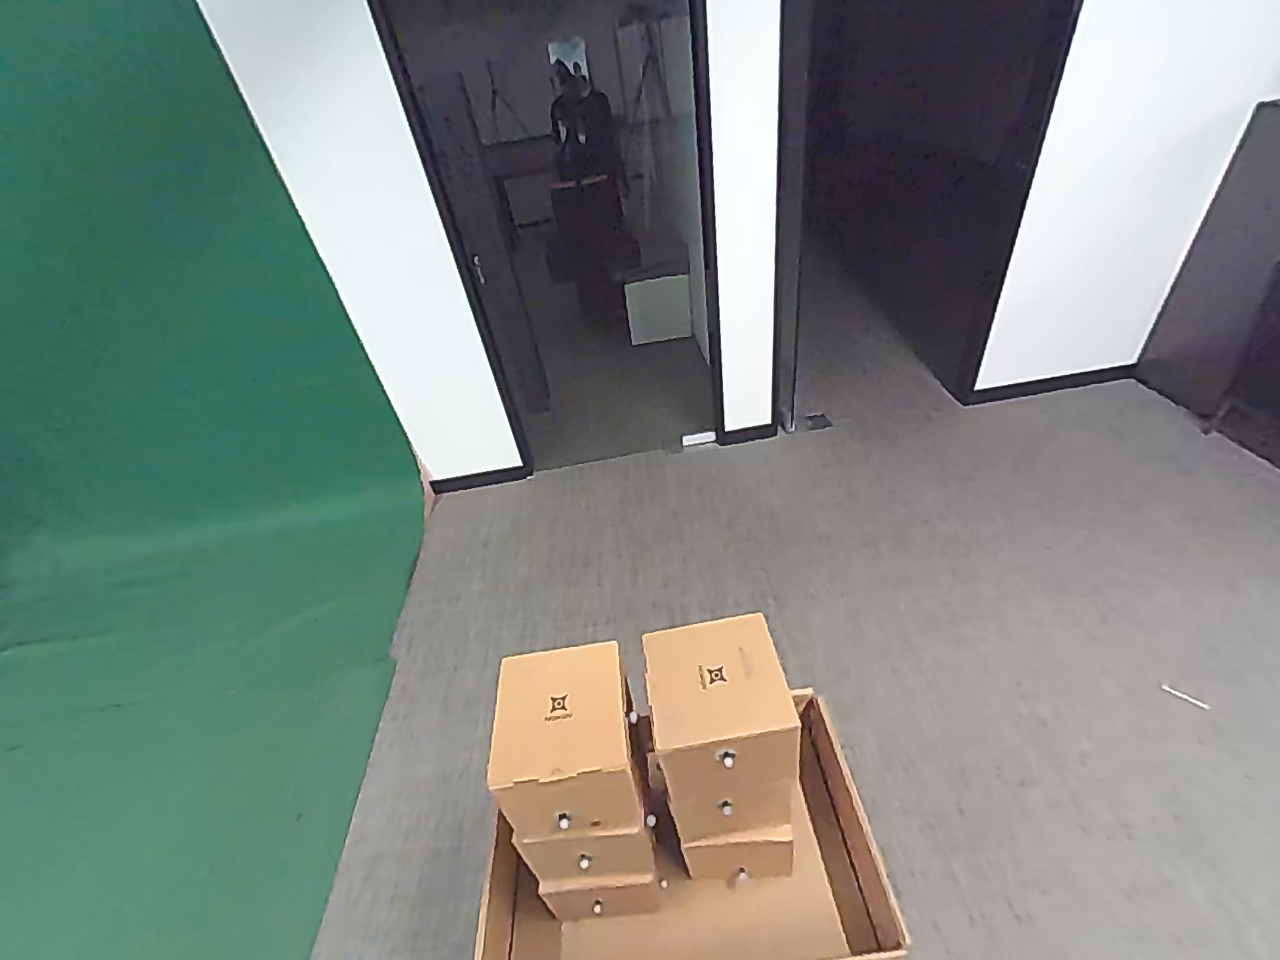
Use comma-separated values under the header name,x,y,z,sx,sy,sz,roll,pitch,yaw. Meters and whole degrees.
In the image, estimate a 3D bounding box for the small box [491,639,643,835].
name,x,y,z,sx,sy,sz,roll,pitch,yaw
small box,-0.091,0.348,0.738,0.168,0.176,0.179,-9,38,0
